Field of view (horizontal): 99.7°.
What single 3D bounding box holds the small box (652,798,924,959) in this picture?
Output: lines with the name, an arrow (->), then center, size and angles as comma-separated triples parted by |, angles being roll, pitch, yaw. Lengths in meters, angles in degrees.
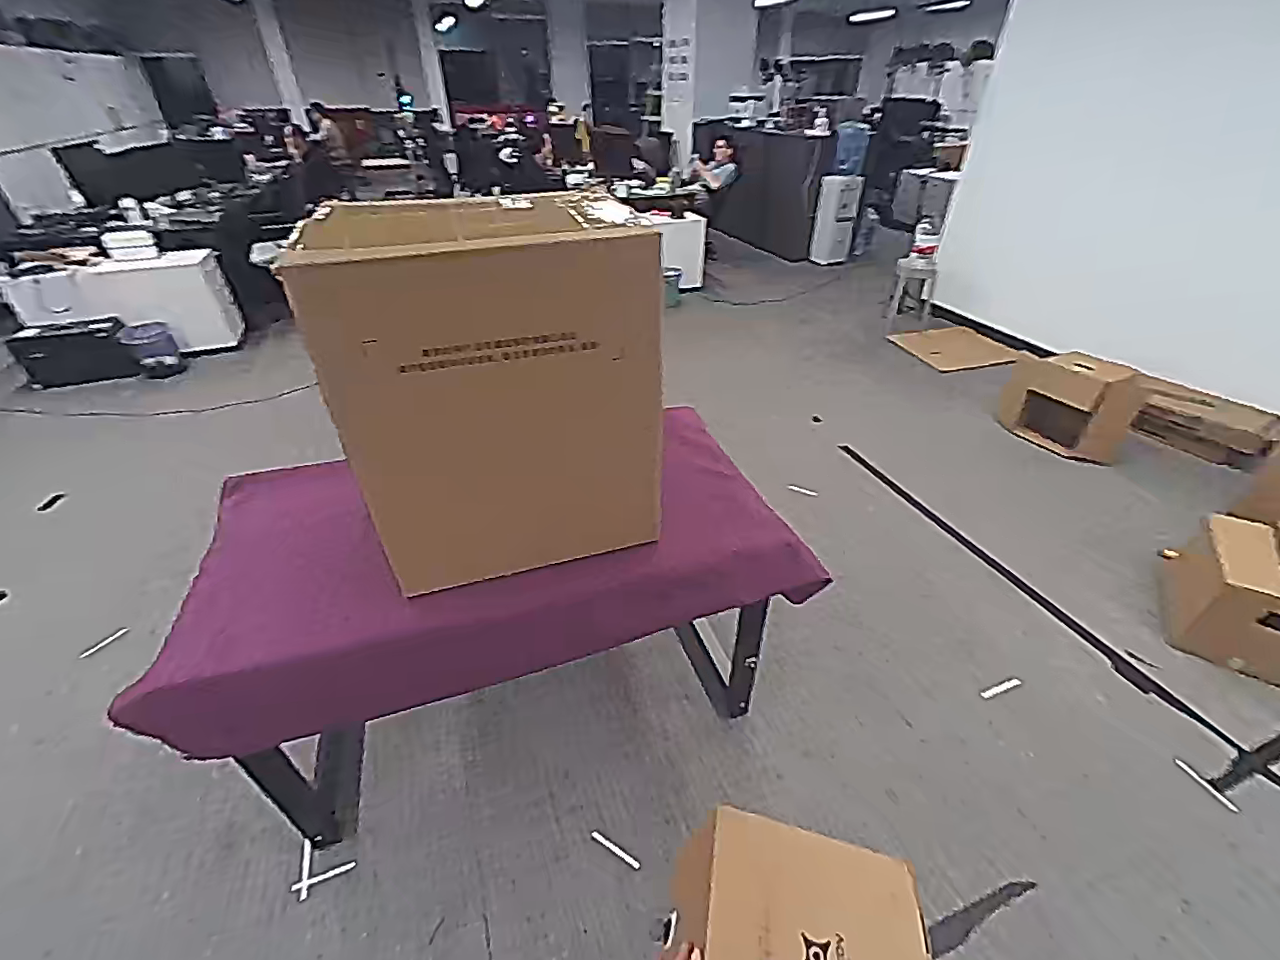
small box -> 0.111, 0.401, 0.446 | 0.179, 0.176, 0.168 | 15, 39, 1
